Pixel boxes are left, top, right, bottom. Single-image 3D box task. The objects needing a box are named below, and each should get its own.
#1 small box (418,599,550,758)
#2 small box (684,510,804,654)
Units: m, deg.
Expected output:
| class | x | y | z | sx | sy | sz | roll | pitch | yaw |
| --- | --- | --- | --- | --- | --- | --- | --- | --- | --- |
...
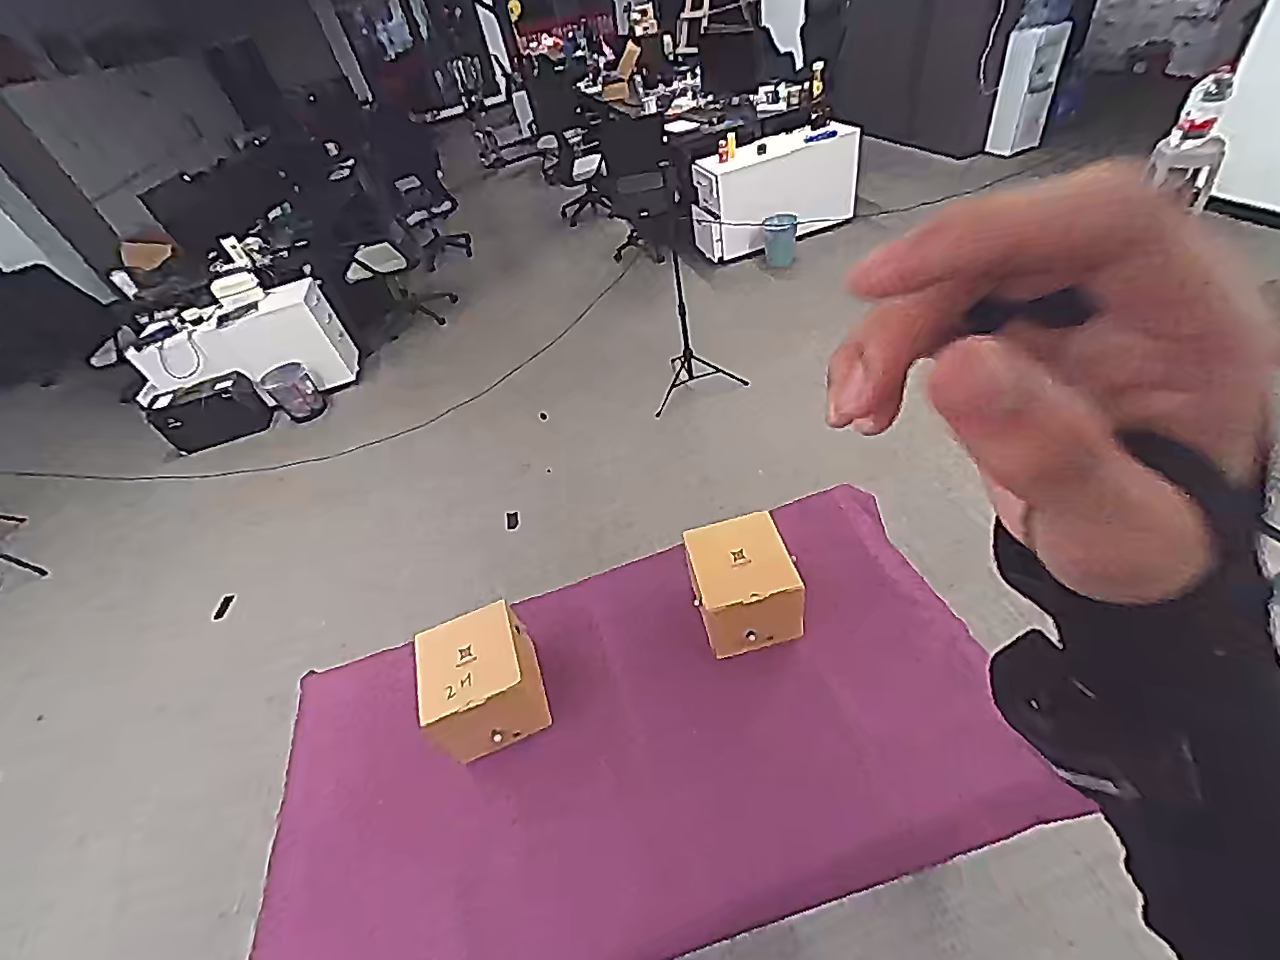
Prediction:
| class | x | y | z | sx | sy | sz | roll | pitch | yaw |
| --- | --- | --- | --- | --- | --- | --- | --- | --- | --- |
| small box | -0.272 | 0.348 | 0.950 | 0.168 | 0.176 | 0.179 | -21 | 44 | -7 |
| small box | 0.187 | 0.188 | 0.993 | 0.168 | 0.176 | 0.179 | -15 | 44 | 0 |
